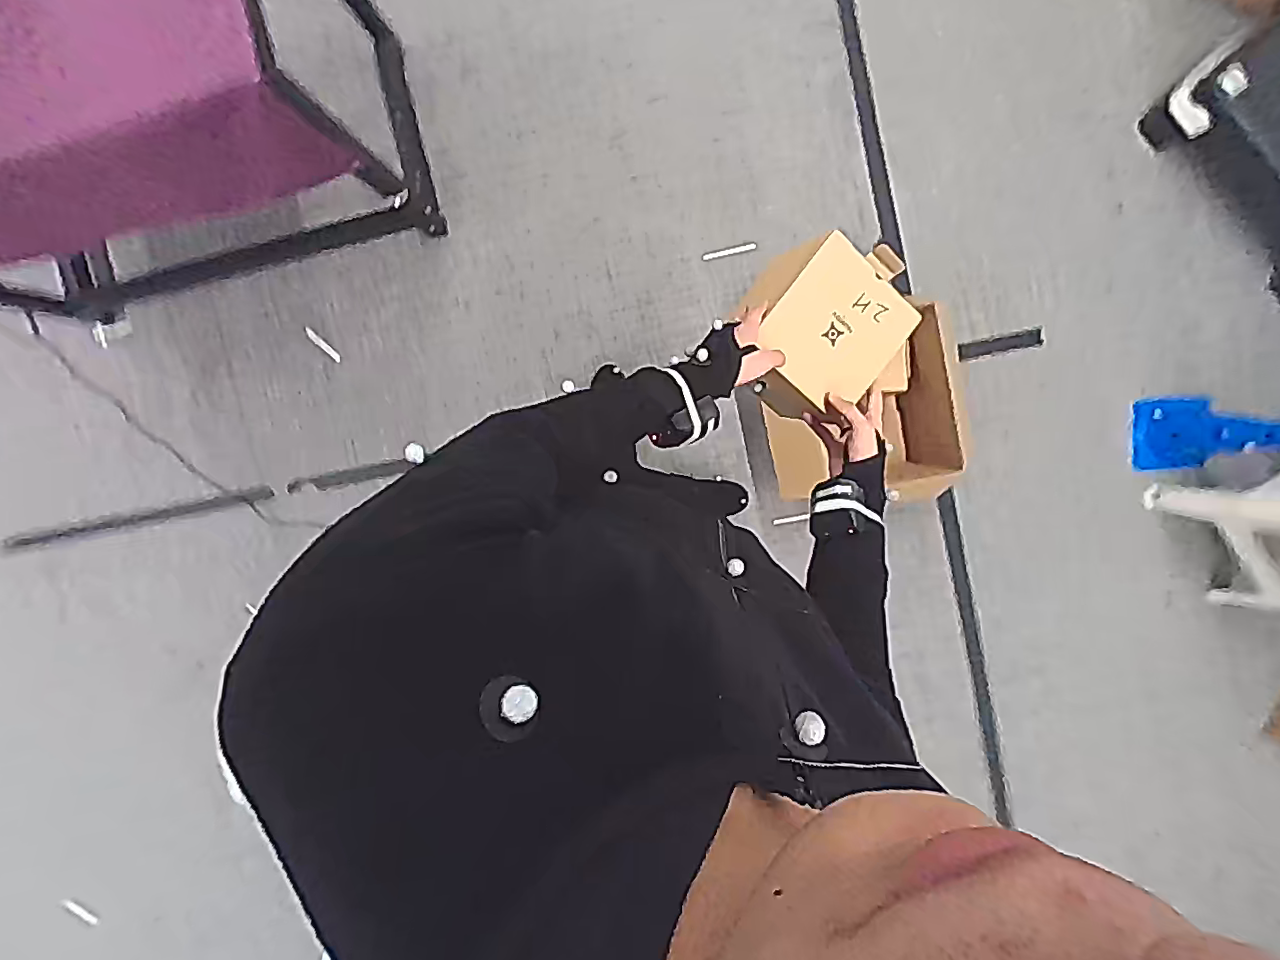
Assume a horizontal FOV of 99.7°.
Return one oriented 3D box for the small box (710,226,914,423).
[{"bbox_3d":[0.216,-0.199,0.734,0.168,0.176,0.179,37,91,-16],"label":"small box"}]
